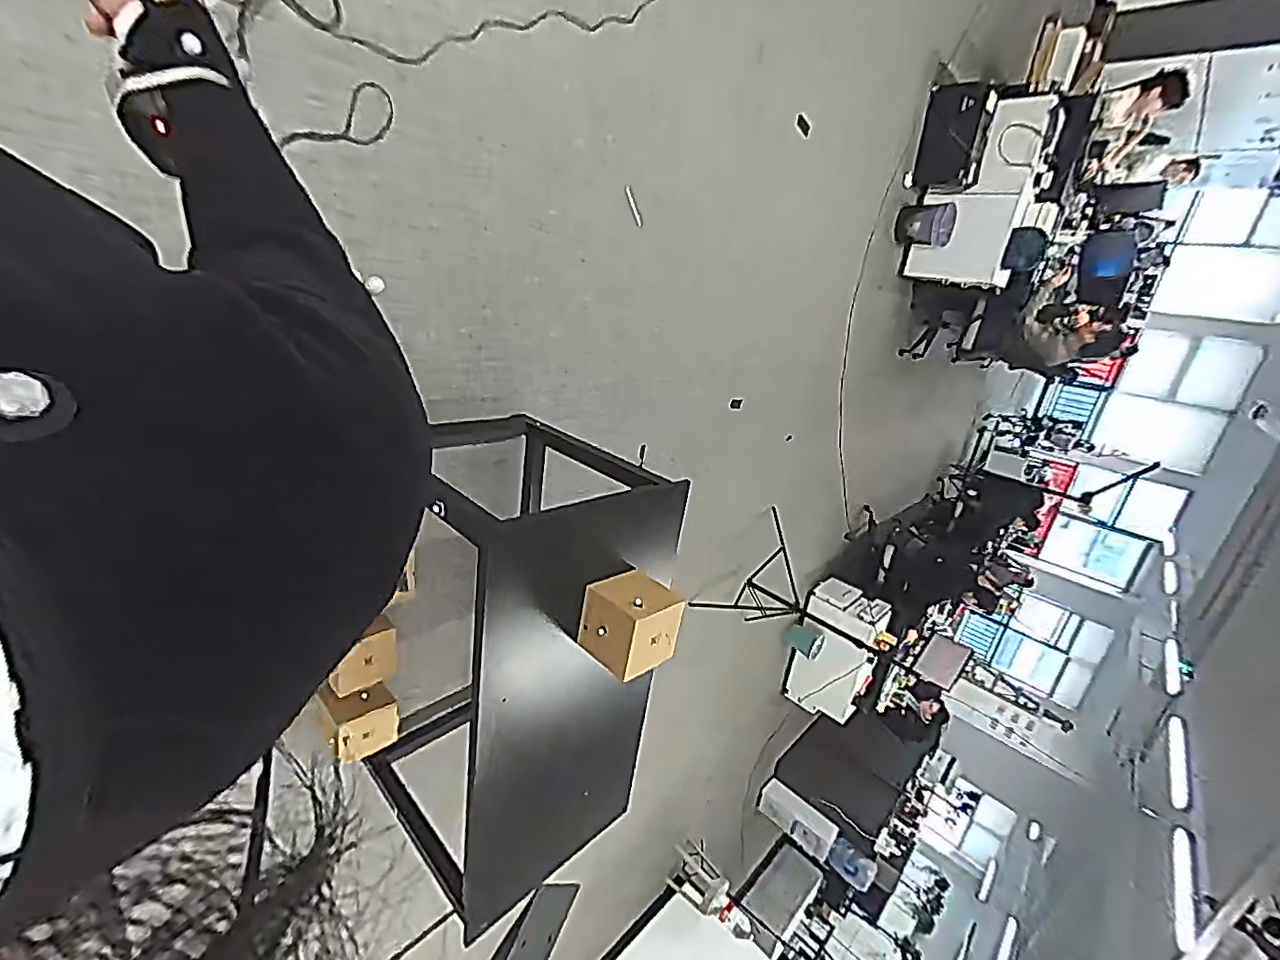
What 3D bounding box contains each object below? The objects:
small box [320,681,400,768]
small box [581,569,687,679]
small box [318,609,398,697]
[{"bbox_3d":[-0.876,0.746,1.696,0.179,0.176,0.168,-14,119,-45],"label":"small box"},{"bbox_3d":[-0.019,0.335,1.291,0.179,0.176,0.168,-9,117,-47],"label":"small box"},{"bbox_3d":[-0.839,0.499,1.611,0.168,0.176,0.179,-14,119,-46],"label":"small box"}]
